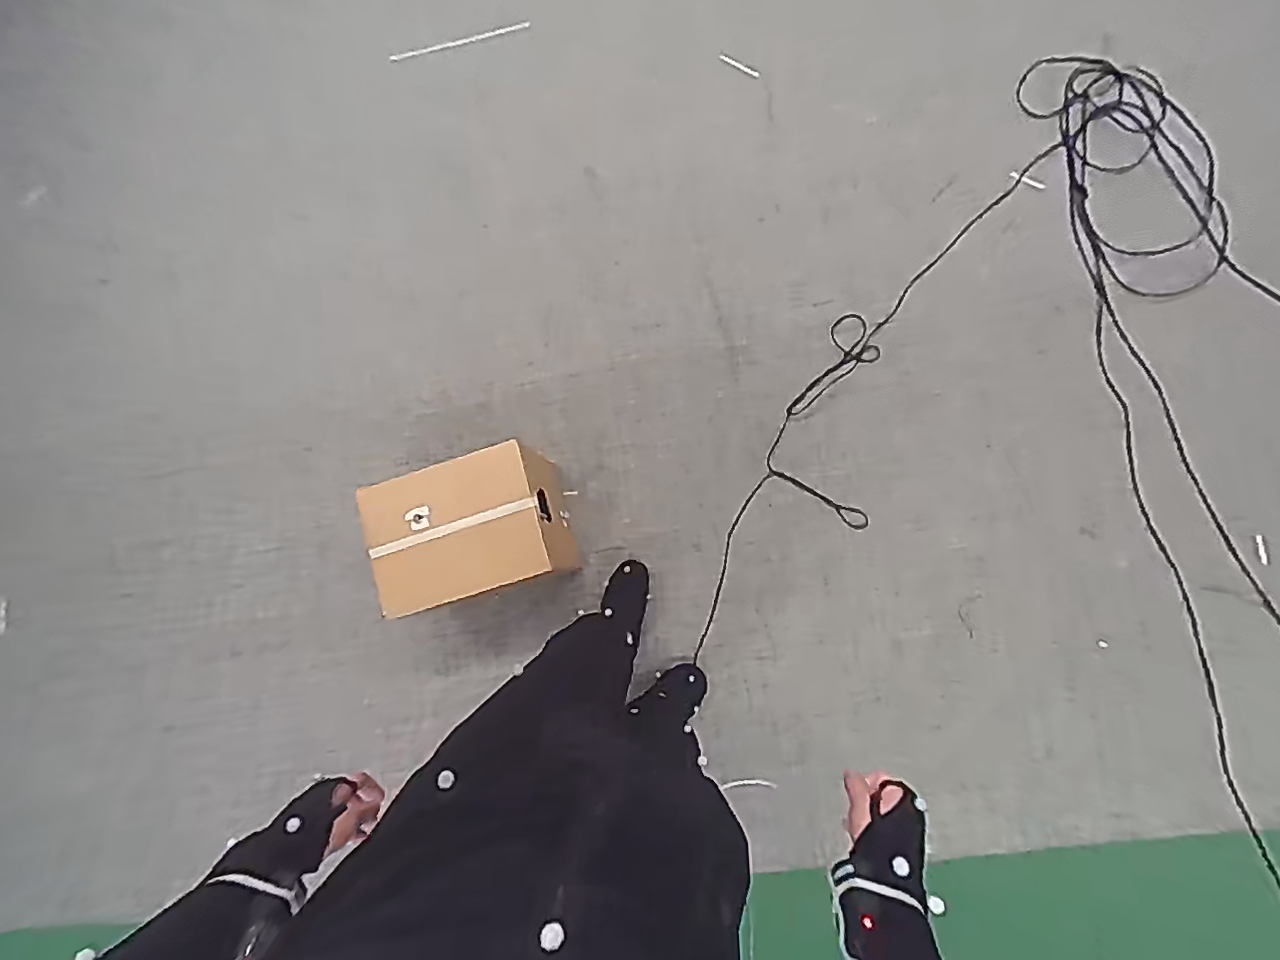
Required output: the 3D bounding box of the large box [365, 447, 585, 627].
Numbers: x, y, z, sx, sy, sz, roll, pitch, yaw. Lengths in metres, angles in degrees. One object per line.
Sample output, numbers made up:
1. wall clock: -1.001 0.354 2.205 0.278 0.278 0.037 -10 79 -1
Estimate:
1. large box: -0.400 0.148 1.378 0.408 0.320 0.320 -18 79 5
